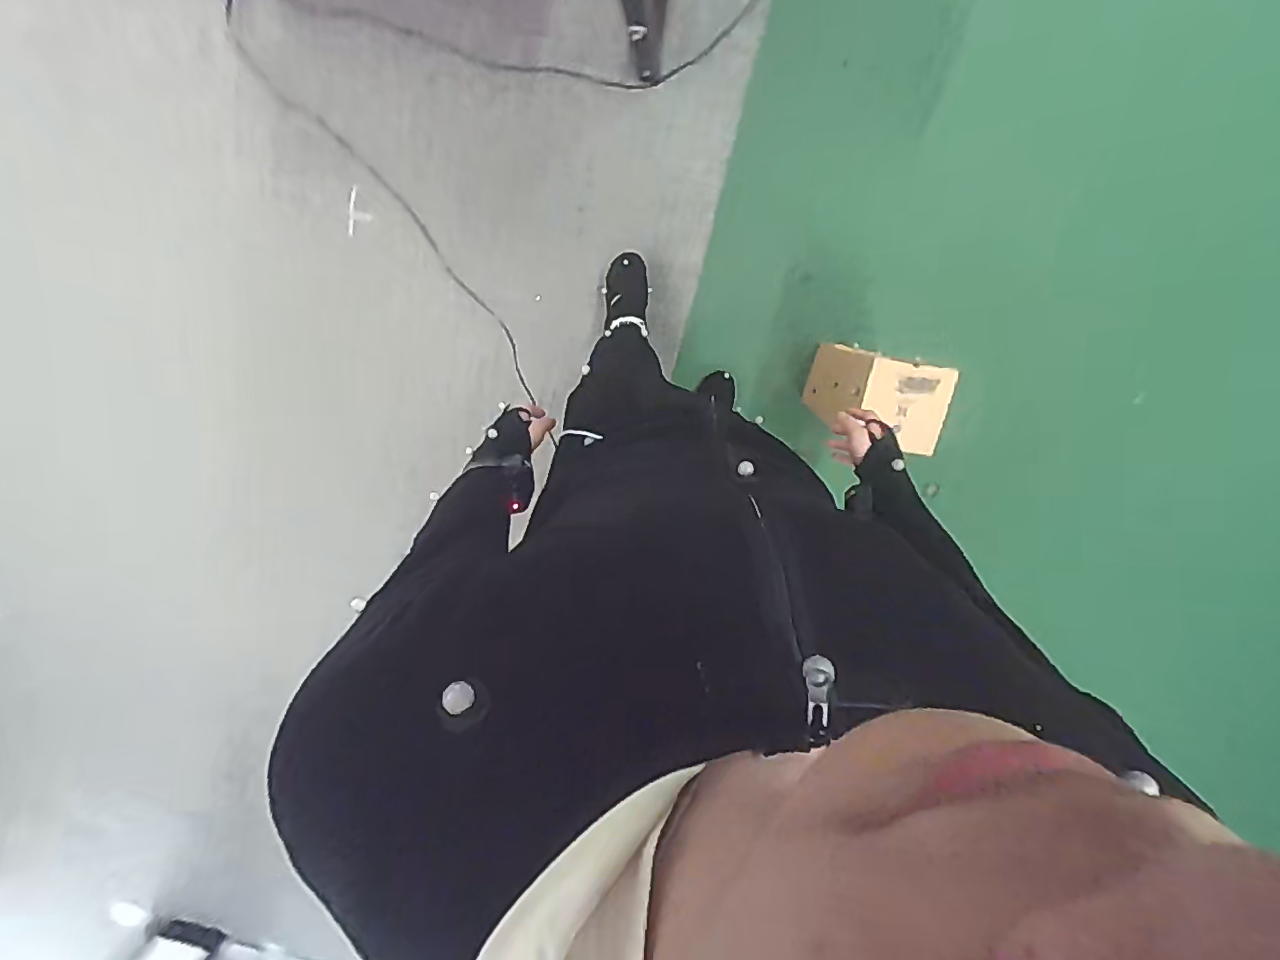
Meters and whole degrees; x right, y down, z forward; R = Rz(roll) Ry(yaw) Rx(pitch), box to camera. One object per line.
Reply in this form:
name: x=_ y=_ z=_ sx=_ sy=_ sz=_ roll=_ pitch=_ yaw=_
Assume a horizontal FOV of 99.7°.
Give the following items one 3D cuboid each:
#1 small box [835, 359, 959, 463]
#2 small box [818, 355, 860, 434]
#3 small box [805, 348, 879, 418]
small box: x=0.528 y=-0.153 z=1.140 sx=0.168 sy=0.176 sz=0.179 roll=11 pitch=107 yaw=3
small box: x=0.541 y=-0.196 z=1.298 sx=0.168 sy=0.176 sz=0.179 roll=13 pitch=106 yaw=2
small box: x=0.555 y=-0.246 z=1.451 sx=0.168 sy=0.176 sz=0.179 roll=15 pitch=107 yaw=1
